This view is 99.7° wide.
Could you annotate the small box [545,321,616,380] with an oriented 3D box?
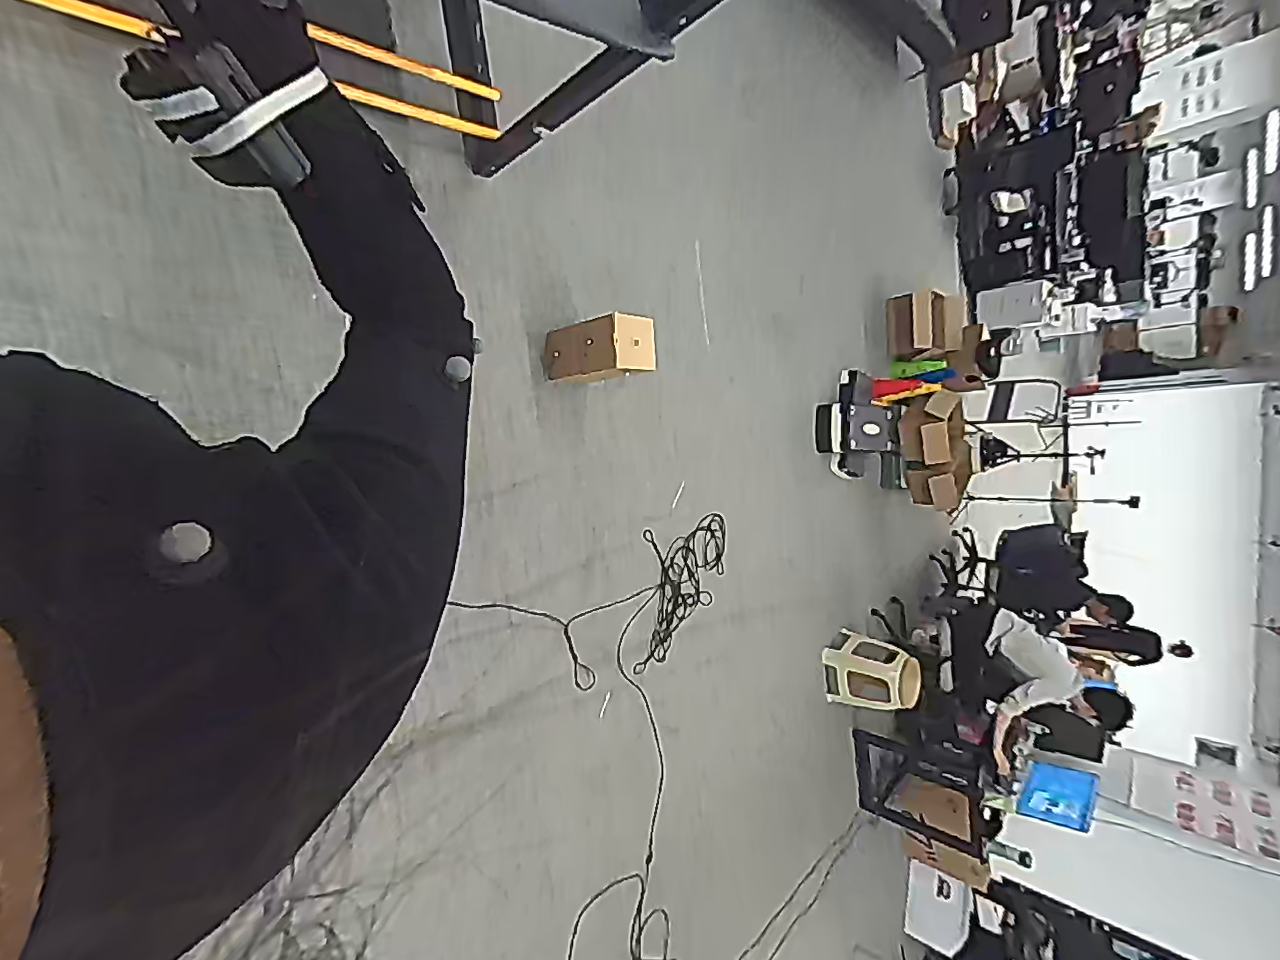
[{"bbox_3d":[-0.204,-0.434,1.845,0.179,0.176,0.168,-6,95,-45],"label":"small box"}]
